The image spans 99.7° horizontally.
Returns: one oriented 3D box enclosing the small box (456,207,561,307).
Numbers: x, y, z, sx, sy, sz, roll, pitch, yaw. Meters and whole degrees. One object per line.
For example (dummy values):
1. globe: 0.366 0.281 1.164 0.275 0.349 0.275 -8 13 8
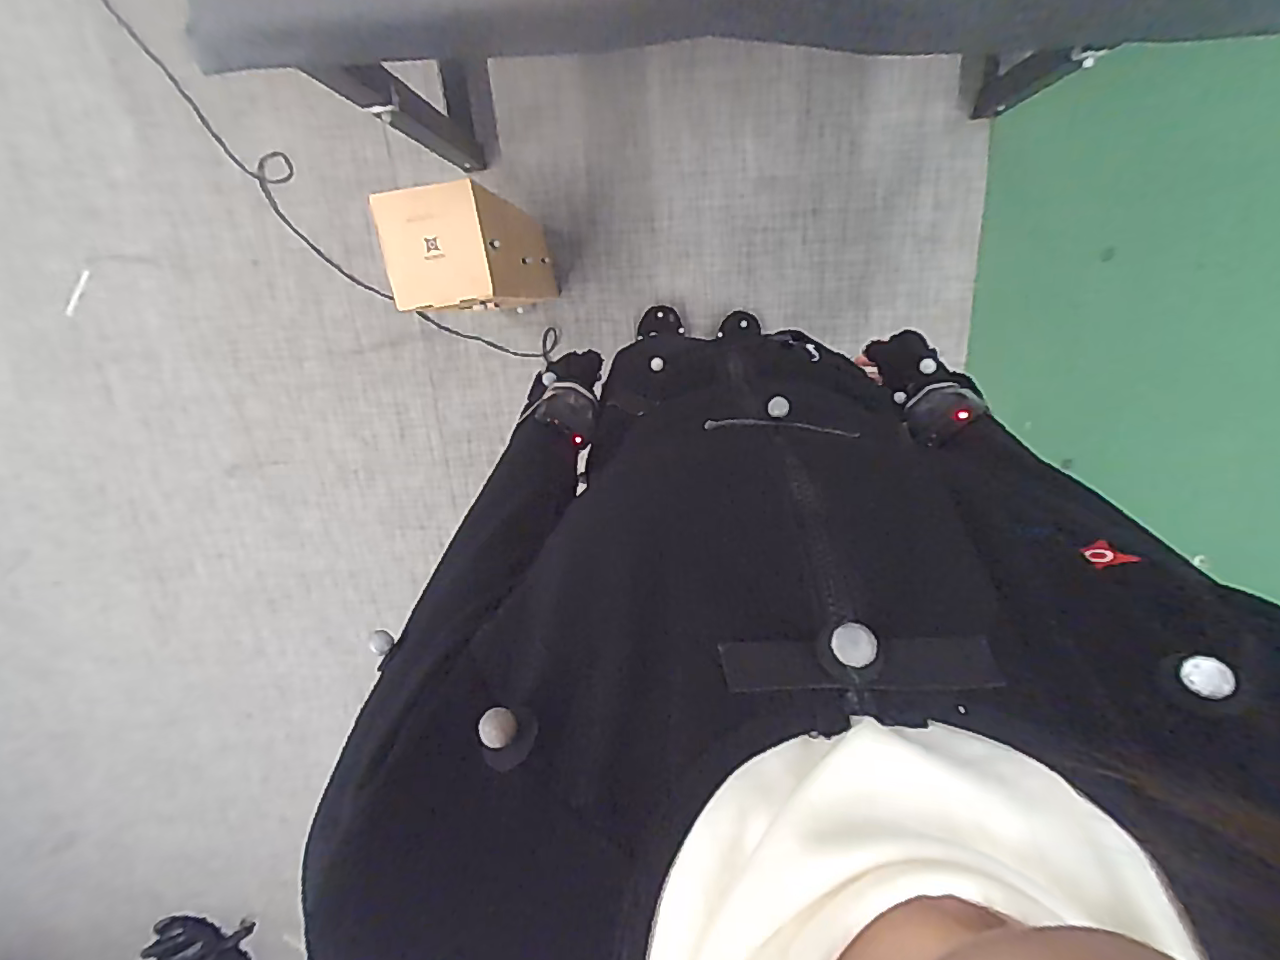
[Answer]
1. small box: -0.291 -0.500 1.234 0.168 0.176 0.179 -10 108 7
